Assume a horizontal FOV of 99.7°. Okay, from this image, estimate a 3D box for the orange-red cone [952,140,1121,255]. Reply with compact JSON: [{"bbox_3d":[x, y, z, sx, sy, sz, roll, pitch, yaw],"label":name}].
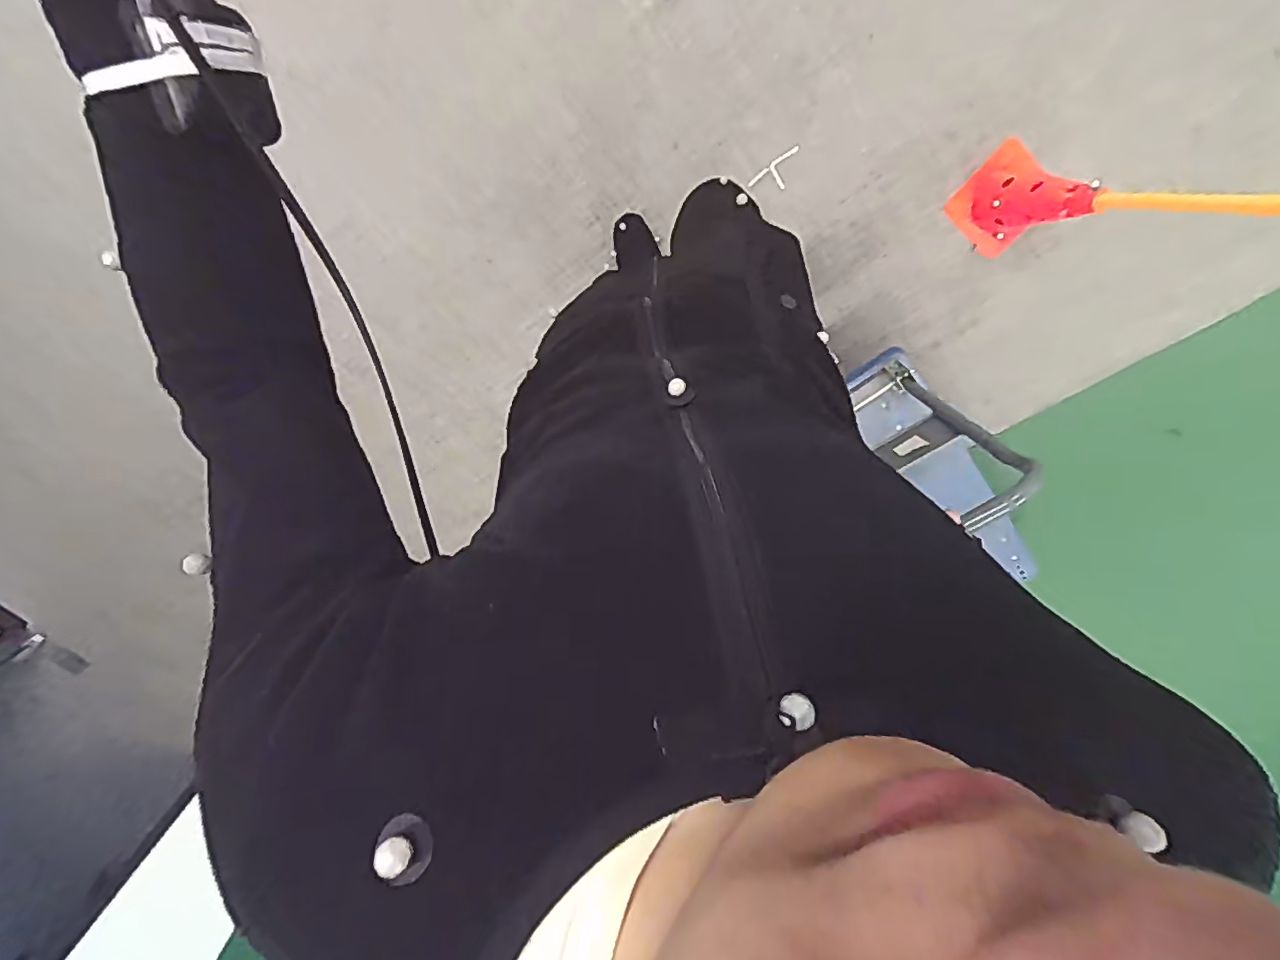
[{"bbox_3d":[0.883,-0.605,1.161,0.198,0.360,0.199,37,112,-16],"label":"orange-red cone"}]
